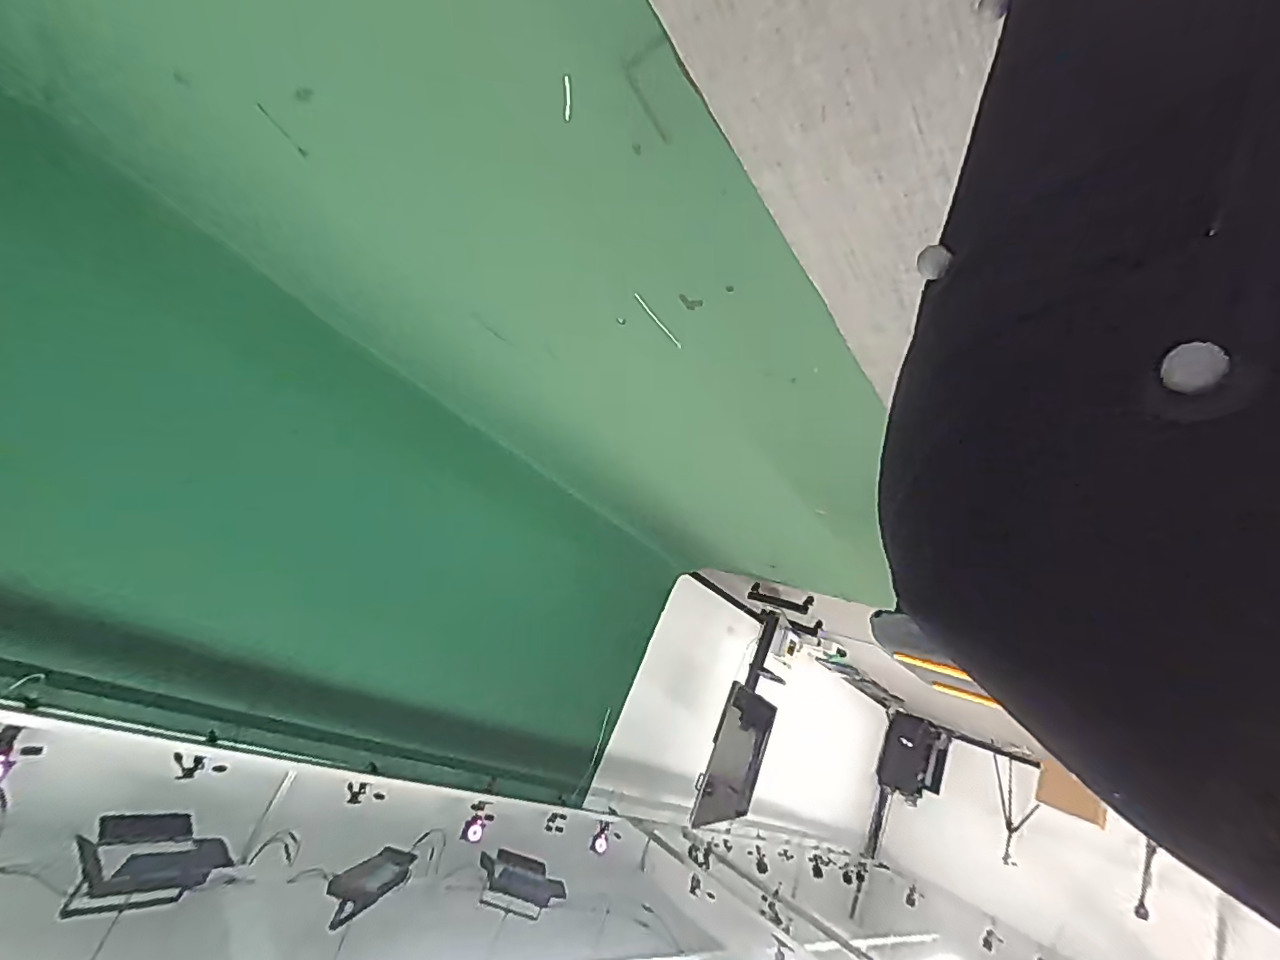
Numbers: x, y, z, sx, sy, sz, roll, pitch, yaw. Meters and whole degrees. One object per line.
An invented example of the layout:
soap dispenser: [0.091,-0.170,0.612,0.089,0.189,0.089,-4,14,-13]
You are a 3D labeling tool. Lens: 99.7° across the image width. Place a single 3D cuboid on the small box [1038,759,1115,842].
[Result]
small box: [1.409,1.028,1.741,0.168,0.176,0.179,5,153,47]
